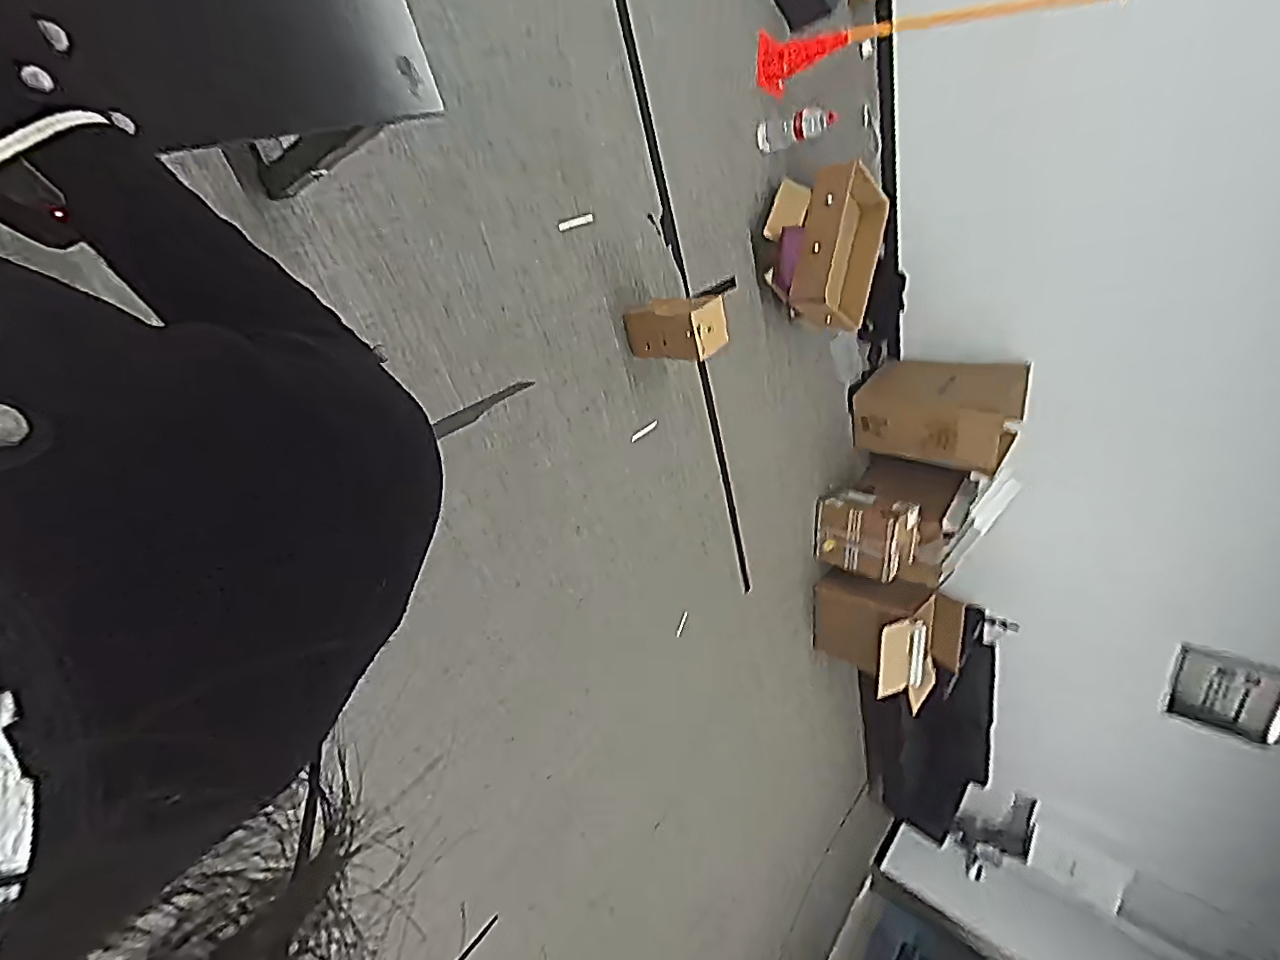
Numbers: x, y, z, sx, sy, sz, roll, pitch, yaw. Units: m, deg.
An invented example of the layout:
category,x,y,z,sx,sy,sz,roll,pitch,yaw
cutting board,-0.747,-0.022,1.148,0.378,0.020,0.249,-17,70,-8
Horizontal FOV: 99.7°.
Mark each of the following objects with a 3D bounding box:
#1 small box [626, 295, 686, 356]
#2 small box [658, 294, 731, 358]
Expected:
category,x,y,z,sx,sy,sz,roll,pitch,yaw
small box,0.077,-0.573,2.003,0.168,0.176,0.179,-38,124,-33
small box,0.191,-0.541,1.890,0.179,0.176,0.168,-40,126,-33
